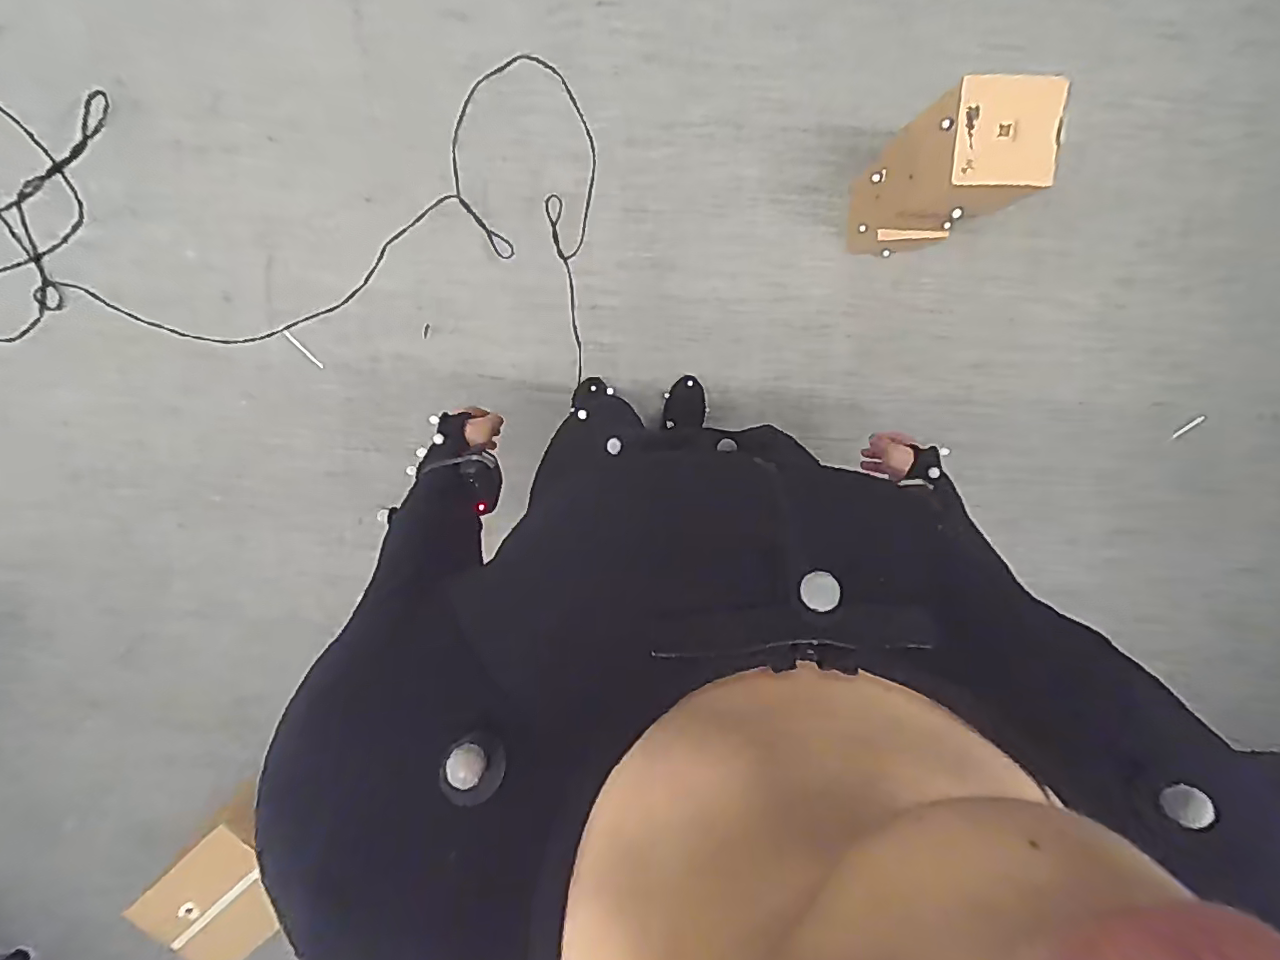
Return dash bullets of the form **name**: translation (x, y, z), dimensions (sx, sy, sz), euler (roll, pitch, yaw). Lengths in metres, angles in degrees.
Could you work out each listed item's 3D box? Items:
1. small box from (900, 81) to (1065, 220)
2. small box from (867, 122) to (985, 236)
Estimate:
- **small box**: translation (0.602, -0.579, 0.972), dimensions (0.179, 0.176, 0.168), euler (1, 101, -2)
- **small box**: translation (0.604, -0.620, 1.131), dimensions (0.179, 0.176, 0.168), euler (1, 101, -1)
